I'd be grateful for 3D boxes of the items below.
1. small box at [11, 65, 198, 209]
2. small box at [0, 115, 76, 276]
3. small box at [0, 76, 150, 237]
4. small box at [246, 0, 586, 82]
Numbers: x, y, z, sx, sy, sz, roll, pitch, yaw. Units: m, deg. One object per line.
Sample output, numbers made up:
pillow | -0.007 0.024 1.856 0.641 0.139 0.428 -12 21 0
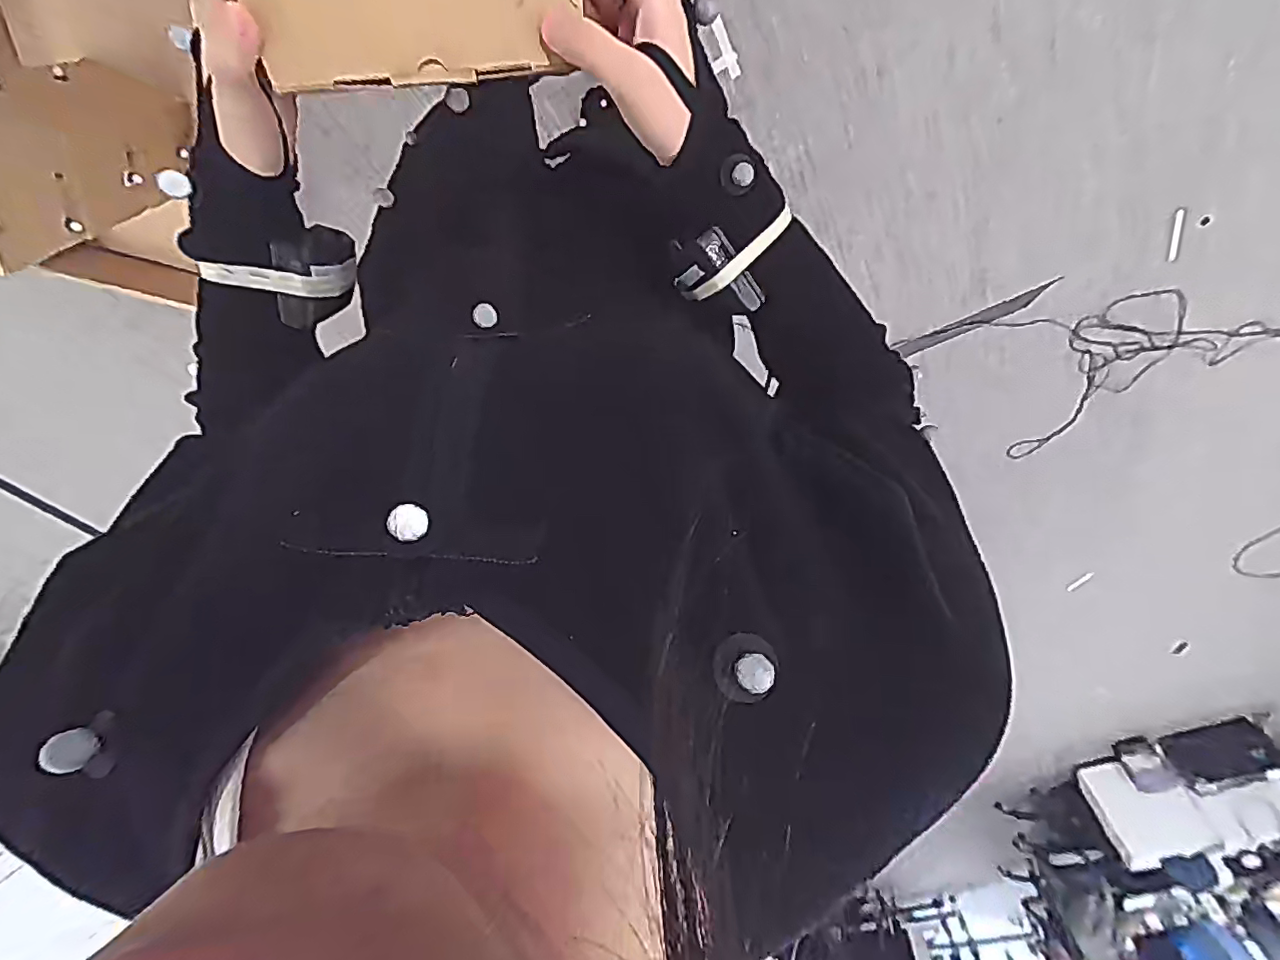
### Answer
small box | -0.981 -0.643 1.011 0.179 0.176 0.168 15 130 -17
small box | -0.970 -0.425 0.769 0.179 0.176 0.168 14 130 -14
small box | -0.973 -0.535 0.891 0.179 0.176 0.168 13 131 -16
small box | -0.124 -0.333 0.294 0.168 0.176 0.179 -9 128 -6
